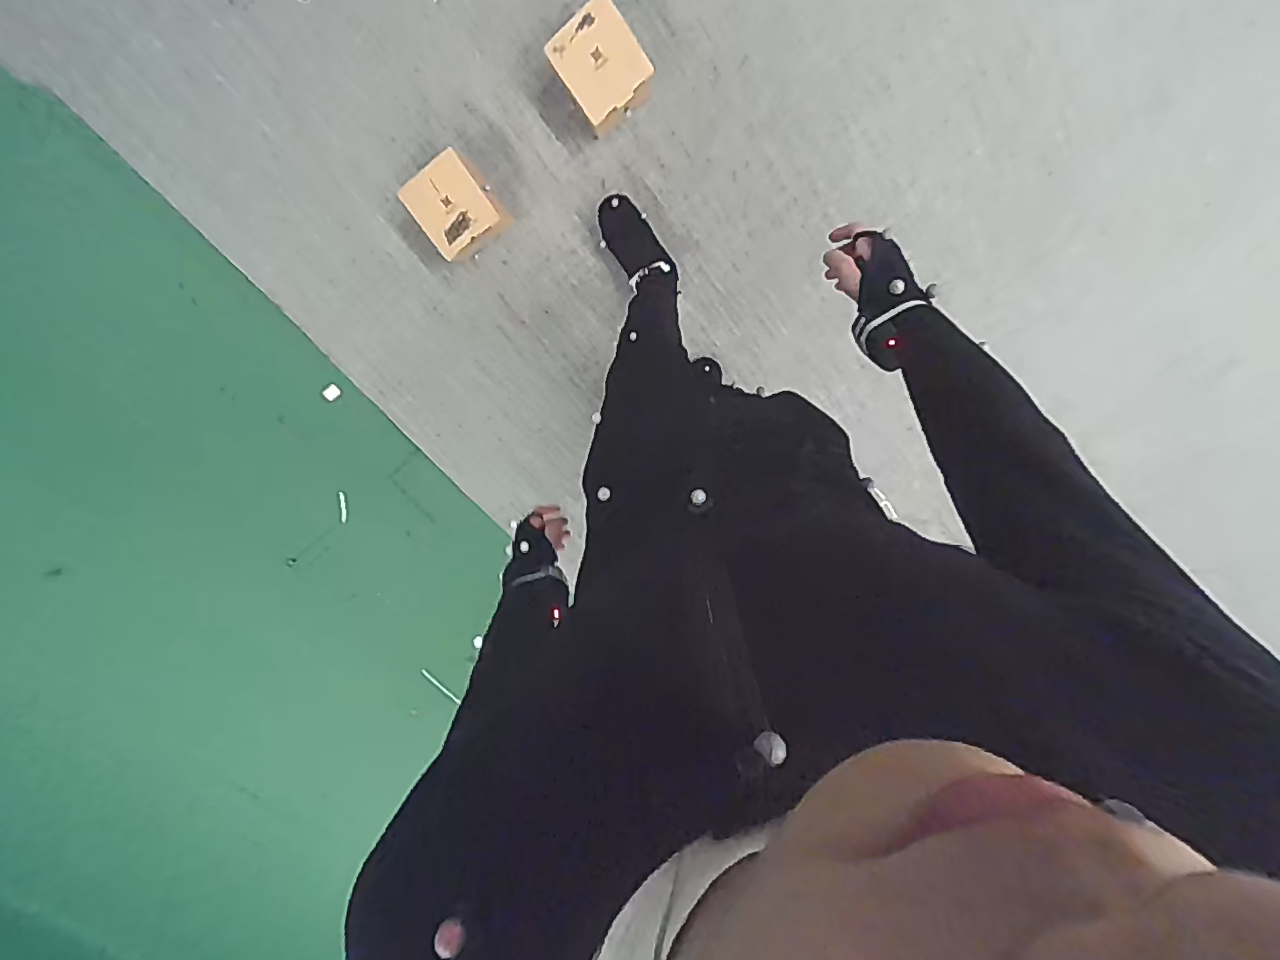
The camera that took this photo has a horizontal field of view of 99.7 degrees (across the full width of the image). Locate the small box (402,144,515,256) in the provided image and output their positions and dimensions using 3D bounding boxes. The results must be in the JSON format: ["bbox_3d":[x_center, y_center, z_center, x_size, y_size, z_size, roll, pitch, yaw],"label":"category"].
[{"bbox_3d":[-0.426,-0.666,1.305,0.168,0.176,0.179,-32,109,12],"label":"small box"}]

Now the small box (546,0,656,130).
[{"bbox_3d":[-0.079,-0.903,1.184,0.168,0.176,0.179,-34,110,14],"label":"small box"}]
